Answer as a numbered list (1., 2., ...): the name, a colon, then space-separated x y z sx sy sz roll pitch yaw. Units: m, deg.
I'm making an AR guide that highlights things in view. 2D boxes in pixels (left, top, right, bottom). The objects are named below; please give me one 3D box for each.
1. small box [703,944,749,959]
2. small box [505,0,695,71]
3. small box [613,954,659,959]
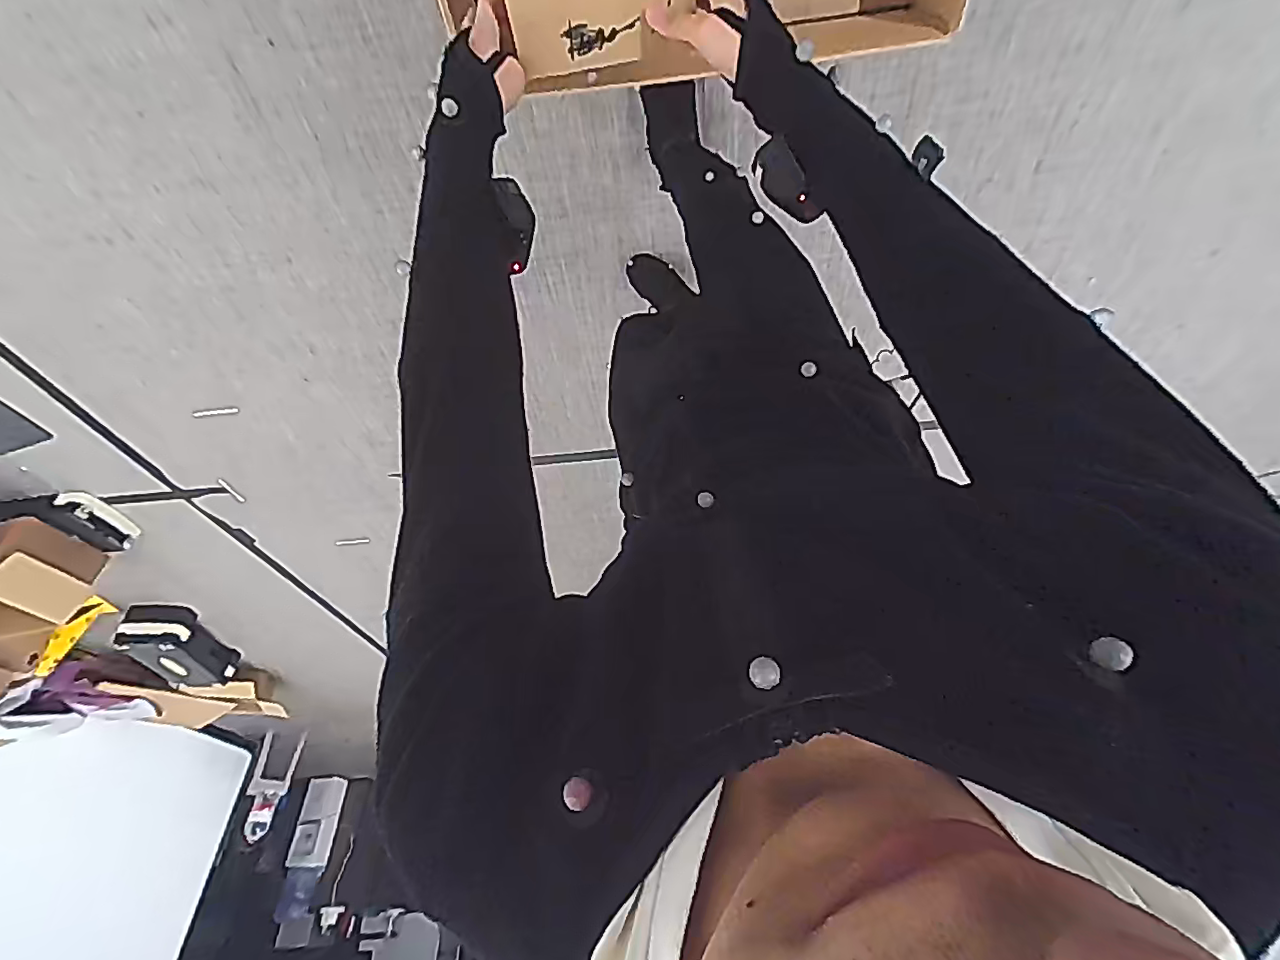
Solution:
1. small box: 0.329 1.851 2.011 0.168 0.176 0.179 -7 142 4
2. small box: -0.047 -0.501 0.487 0.168 0.176 0.179 -8 138 0
3. small box: -0.010 1.767 1.880 0.168 0.176 0.179 -3 141 -2
